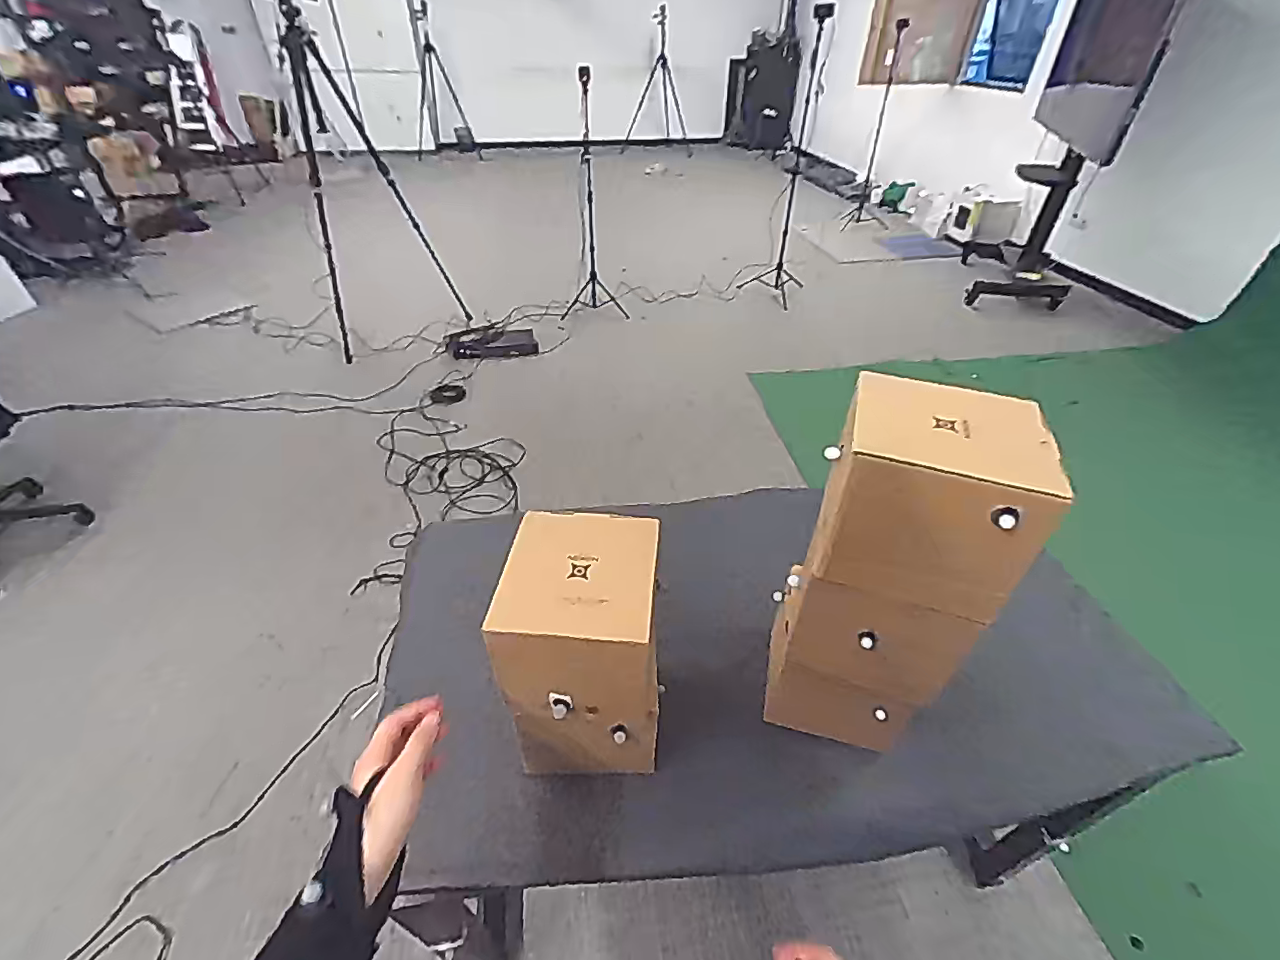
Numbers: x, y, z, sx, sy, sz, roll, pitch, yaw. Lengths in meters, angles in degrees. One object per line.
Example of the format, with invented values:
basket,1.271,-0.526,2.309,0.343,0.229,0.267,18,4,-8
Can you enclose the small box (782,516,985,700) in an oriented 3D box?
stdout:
small box,0.289,0.139,0.662,0.179,0.176,0.168,15,41,17

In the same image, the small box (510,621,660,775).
small box,-0.066,0.285,0.741,0.179,0.176,0.168,0,39,-1

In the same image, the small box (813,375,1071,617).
small box,0.288,0.014,0.558,0.179,0.176,0.168,14,41,15

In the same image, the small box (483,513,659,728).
small box,-0.066,0.161,0.635,0.168,0.176,0.179,3,41,4
